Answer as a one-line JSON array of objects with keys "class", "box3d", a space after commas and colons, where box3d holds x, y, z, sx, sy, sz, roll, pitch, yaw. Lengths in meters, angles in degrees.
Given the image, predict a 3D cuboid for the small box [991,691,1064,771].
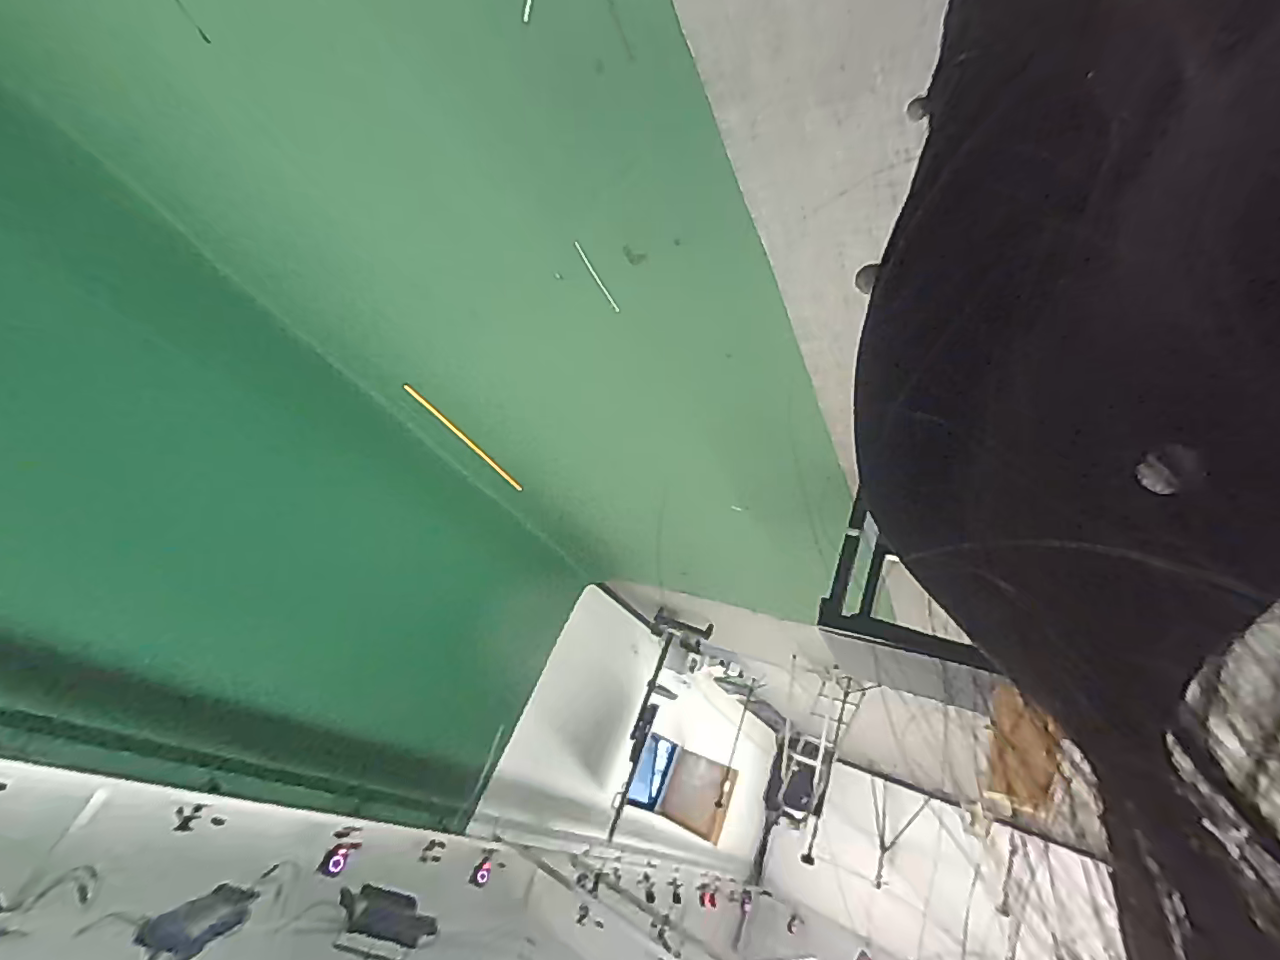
[{"class": "small box", "box3d": [1.241, 0.801, 1.731, 0.168, 0.176, 0.179, 9, 150, 31]}]
